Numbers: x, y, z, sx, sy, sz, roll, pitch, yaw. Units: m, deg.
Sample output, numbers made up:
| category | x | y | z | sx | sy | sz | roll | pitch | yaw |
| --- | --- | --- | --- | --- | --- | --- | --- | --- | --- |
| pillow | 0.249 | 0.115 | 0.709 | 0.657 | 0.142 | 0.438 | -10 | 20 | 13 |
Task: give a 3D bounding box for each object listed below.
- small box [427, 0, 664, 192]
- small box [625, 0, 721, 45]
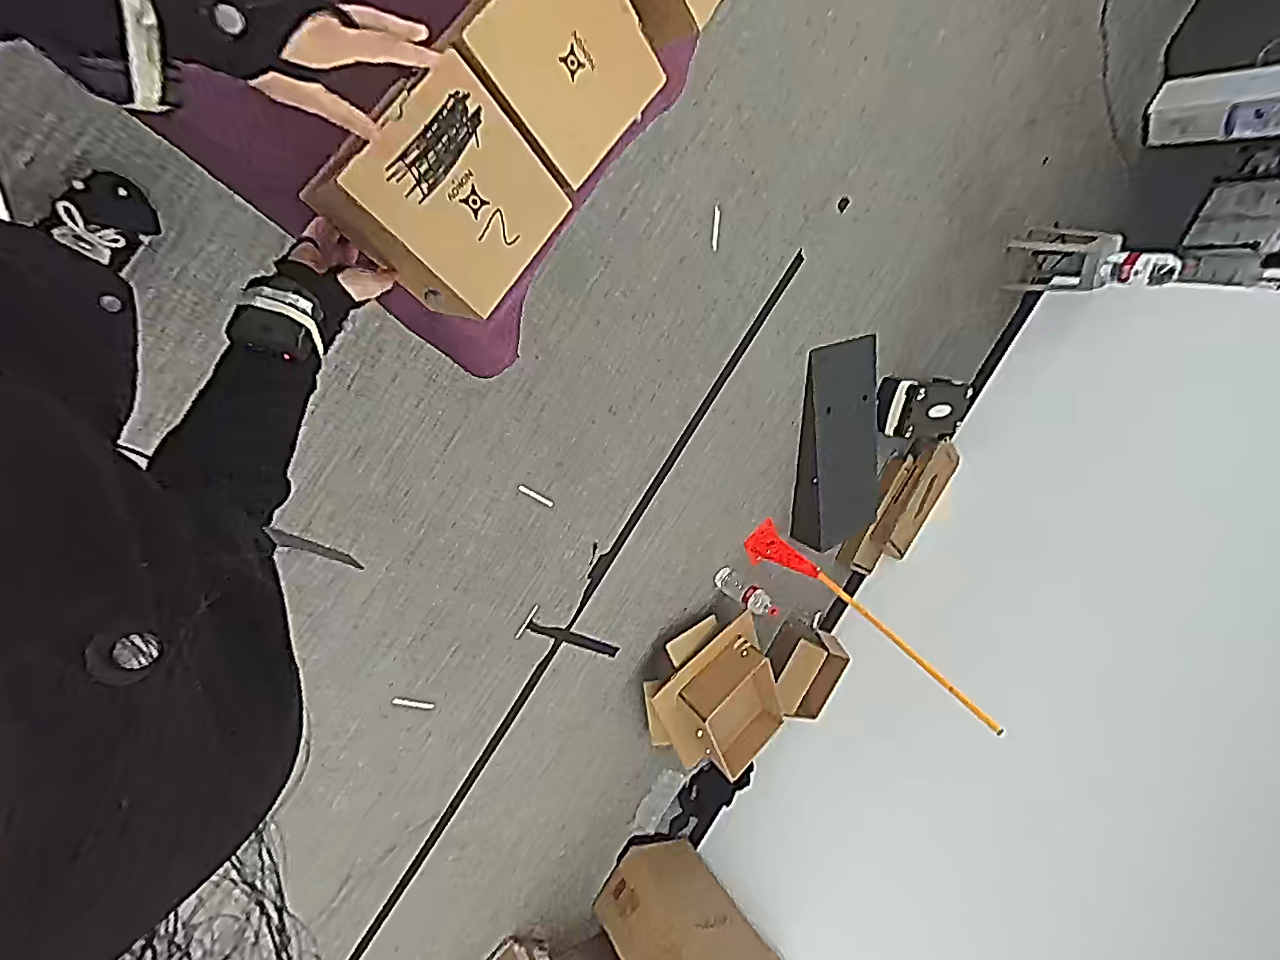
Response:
| category | x | y | z | sx | sy | sz | roll | pitch | yaw |
| --- | --- | --- | --- | --- | --- | --- | --- | --- | --- |
| small box | -0.114 | -0.454 | 0.610 | 0.179 | 0.176 | 0.168 | -54 | 133 | -7 |
| small box | 0.012 | -0.638 | 0.615 | 0.179 | 0.176 | 0.168 | 37 | 87 | -44 |
